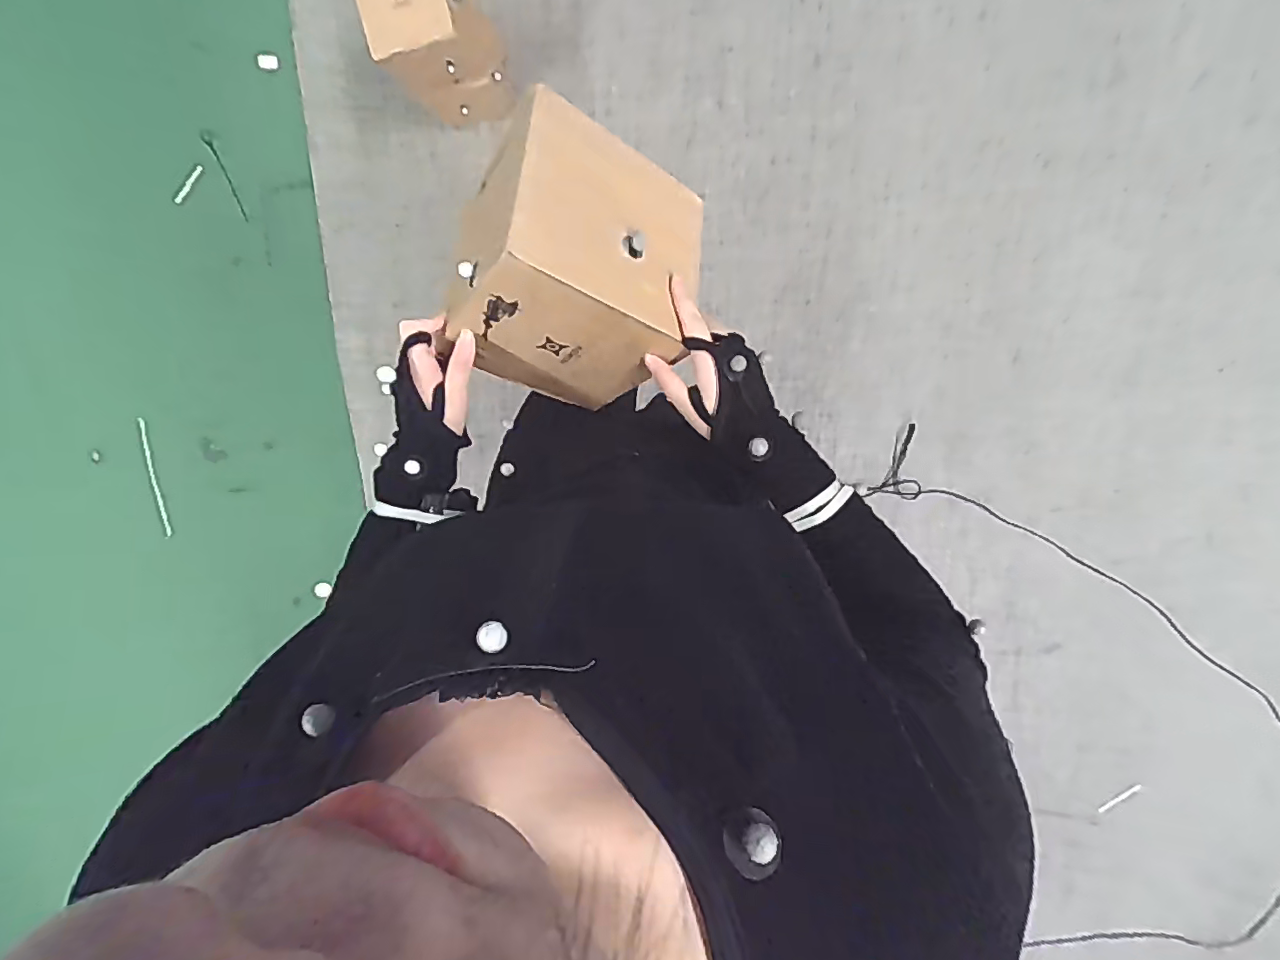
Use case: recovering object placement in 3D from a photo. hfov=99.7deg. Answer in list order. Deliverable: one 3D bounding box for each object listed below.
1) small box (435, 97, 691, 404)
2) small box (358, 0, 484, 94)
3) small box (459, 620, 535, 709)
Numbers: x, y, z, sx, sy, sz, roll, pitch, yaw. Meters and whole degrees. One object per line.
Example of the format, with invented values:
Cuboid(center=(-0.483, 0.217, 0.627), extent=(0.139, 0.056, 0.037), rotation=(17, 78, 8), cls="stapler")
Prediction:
Cuboid(center=(-0.066, -0.196, 0.503), extent=(0.179, 0.168, 0.176), rotation=(17, 67, -33), cls="small box")
Cuboid(center=(-0.424, -0.891, 1.055), extent=(0.168, 0.176, 0.179), rotation=(-10, 102, 7), cls="small box")
Cuboid(center=(-0.412, 0.531, 1.579), extent=(0.168, 0.176, 0.179), rotation=(9, 105, 4), cls="small box")
